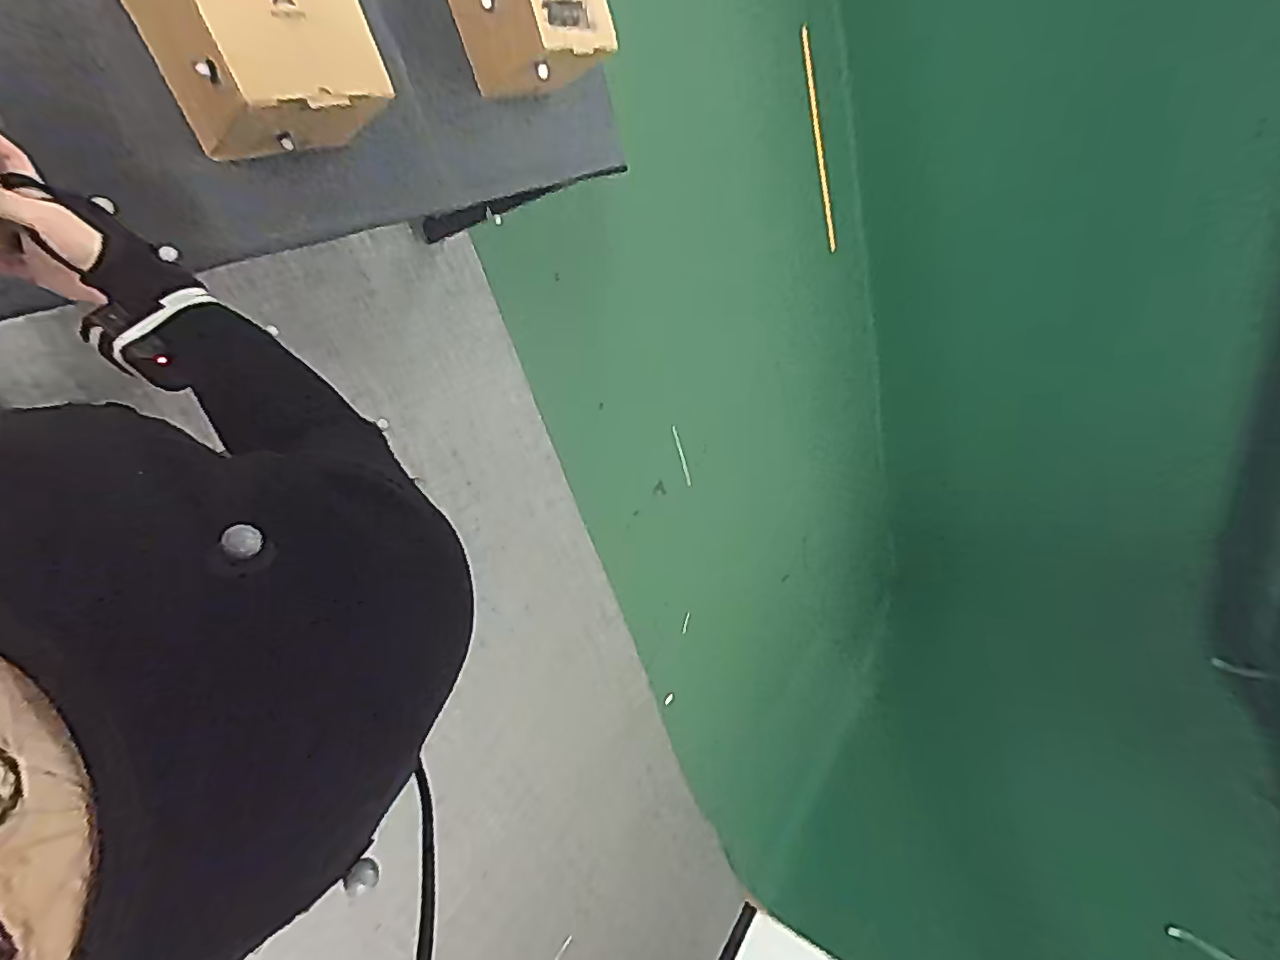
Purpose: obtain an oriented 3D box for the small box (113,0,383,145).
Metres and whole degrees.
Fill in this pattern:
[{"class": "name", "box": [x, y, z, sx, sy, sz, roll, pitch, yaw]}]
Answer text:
[{"class": "small box", "box": [-0.421, -0.485, 0.574, 0.168, 0.176, 0.179, -41, 125, -40]}]
